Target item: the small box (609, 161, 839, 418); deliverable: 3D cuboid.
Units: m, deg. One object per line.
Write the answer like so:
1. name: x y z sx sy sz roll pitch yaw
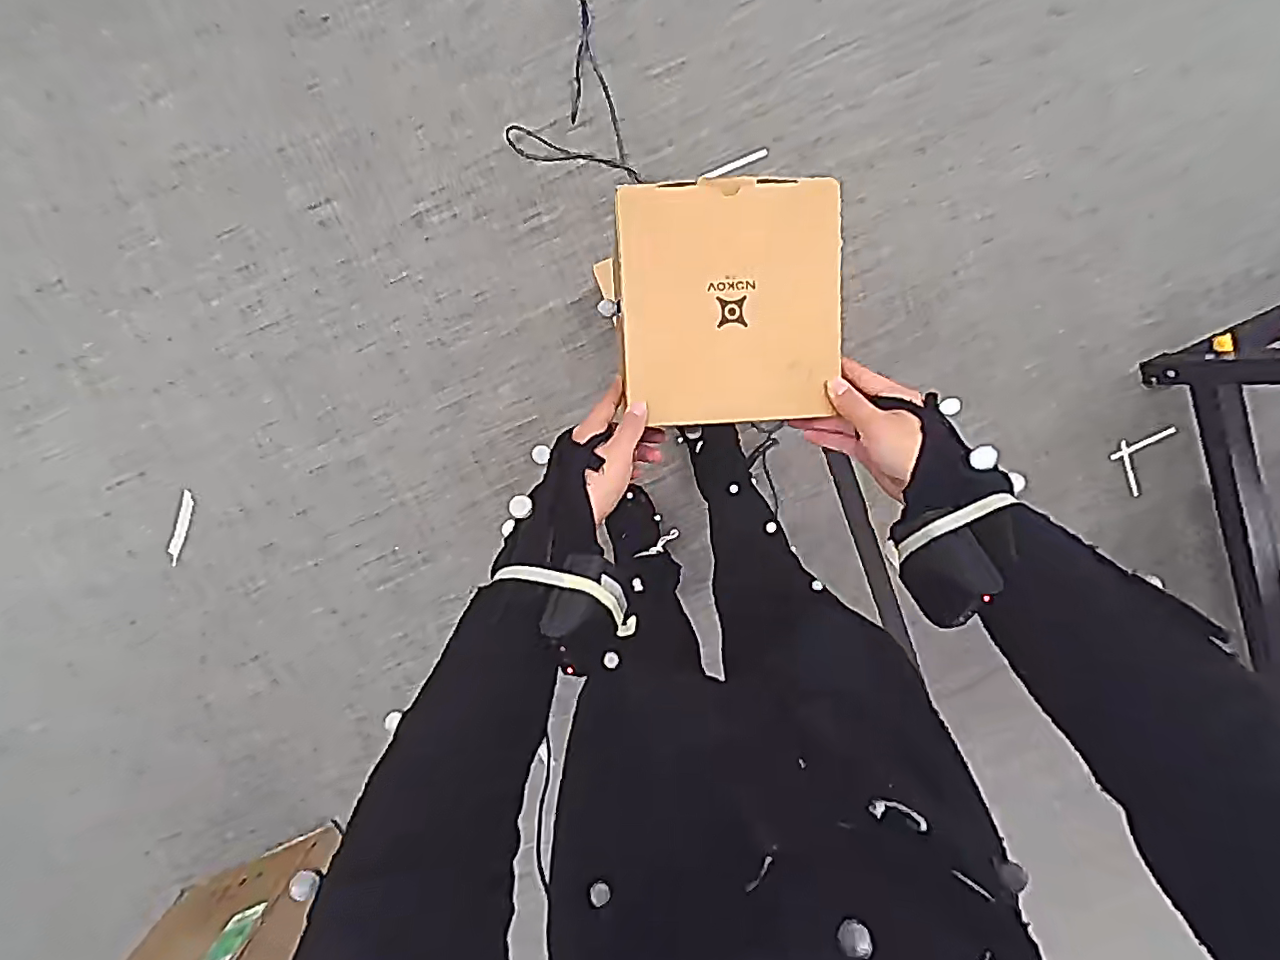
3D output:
1. small box: 0.062 -0.148 0.474 0.168 0.176 0.179 -4 97 -2

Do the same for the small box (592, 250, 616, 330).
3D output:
1. small box: 0.021 -0.332 0.987 0.168 0.176 0.179 -22 101 3
